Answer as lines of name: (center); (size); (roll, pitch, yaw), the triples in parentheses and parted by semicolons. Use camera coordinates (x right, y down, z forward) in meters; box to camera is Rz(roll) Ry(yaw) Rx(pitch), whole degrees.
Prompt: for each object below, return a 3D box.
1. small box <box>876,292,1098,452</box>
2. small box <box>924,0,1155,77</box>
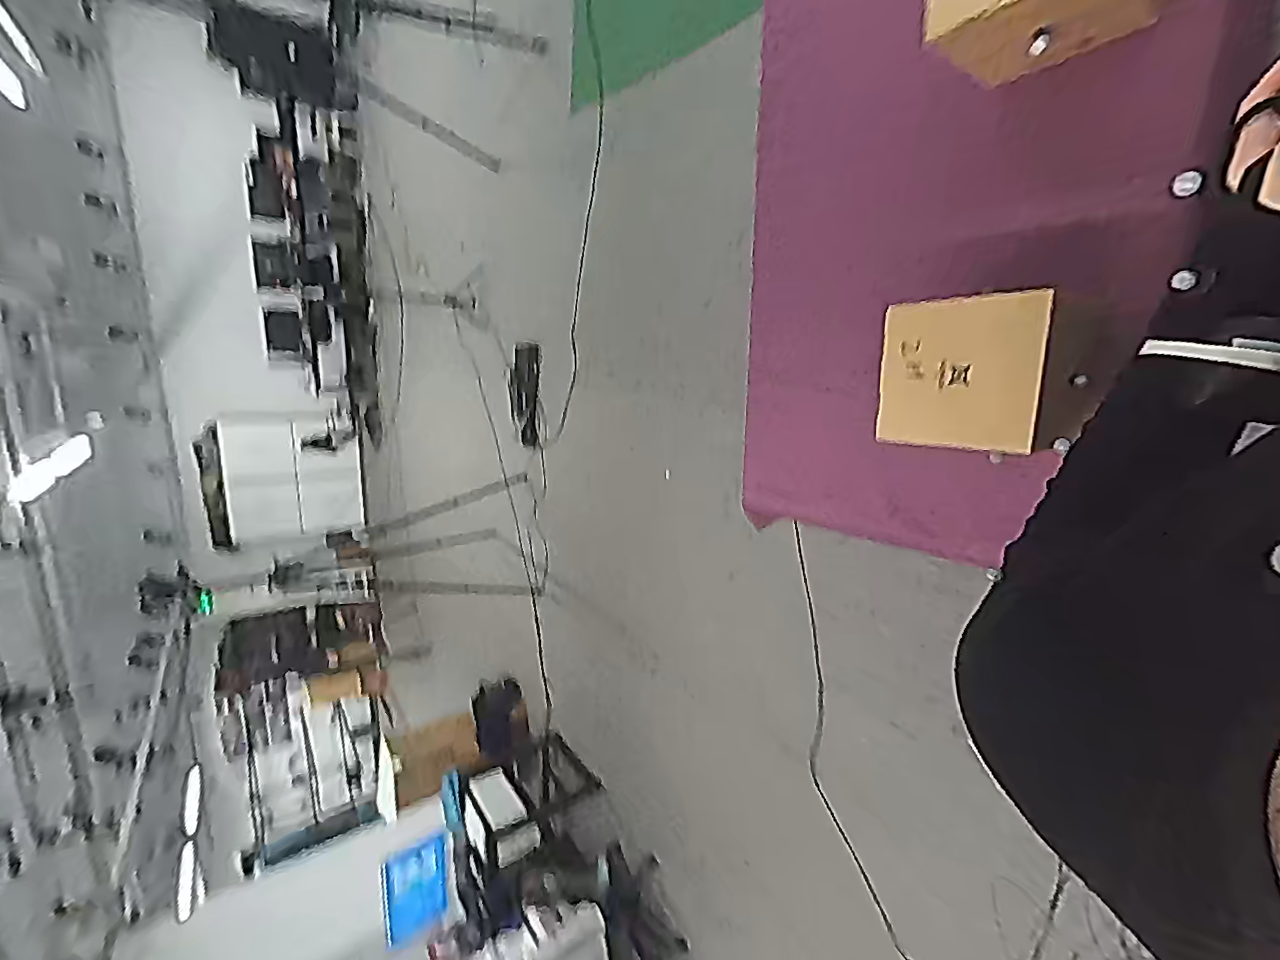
small box: (0.422, -0.130, 0.662); (0.179, 0.176, 0.168); (15, 107, 53)
small box: (0.431, -0.569, 0.575); (0.168, 0.176, 0.179); (12, 107, 53)
